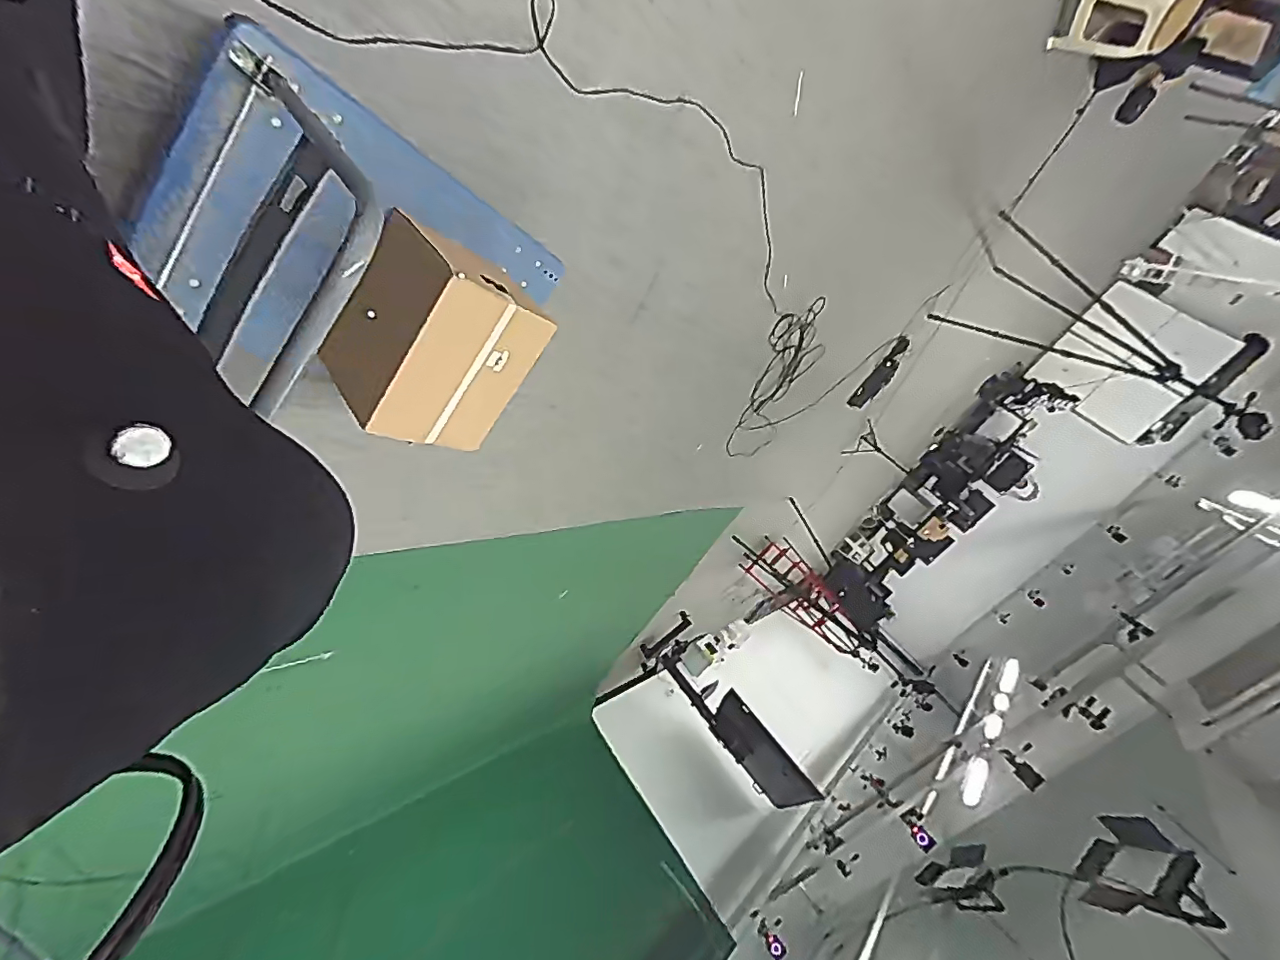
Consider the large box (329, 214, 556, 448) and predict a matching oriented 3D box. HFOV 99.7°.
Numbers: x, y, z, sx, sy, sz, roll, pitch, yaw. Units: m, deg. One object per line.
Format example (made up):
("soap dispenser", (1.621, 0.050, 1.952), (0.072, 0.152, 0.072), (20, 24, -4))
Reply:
("large box", (-0.486, -0.339, 1.316), (0.408, 0.320, 0.320), (-53, 152, 18))
